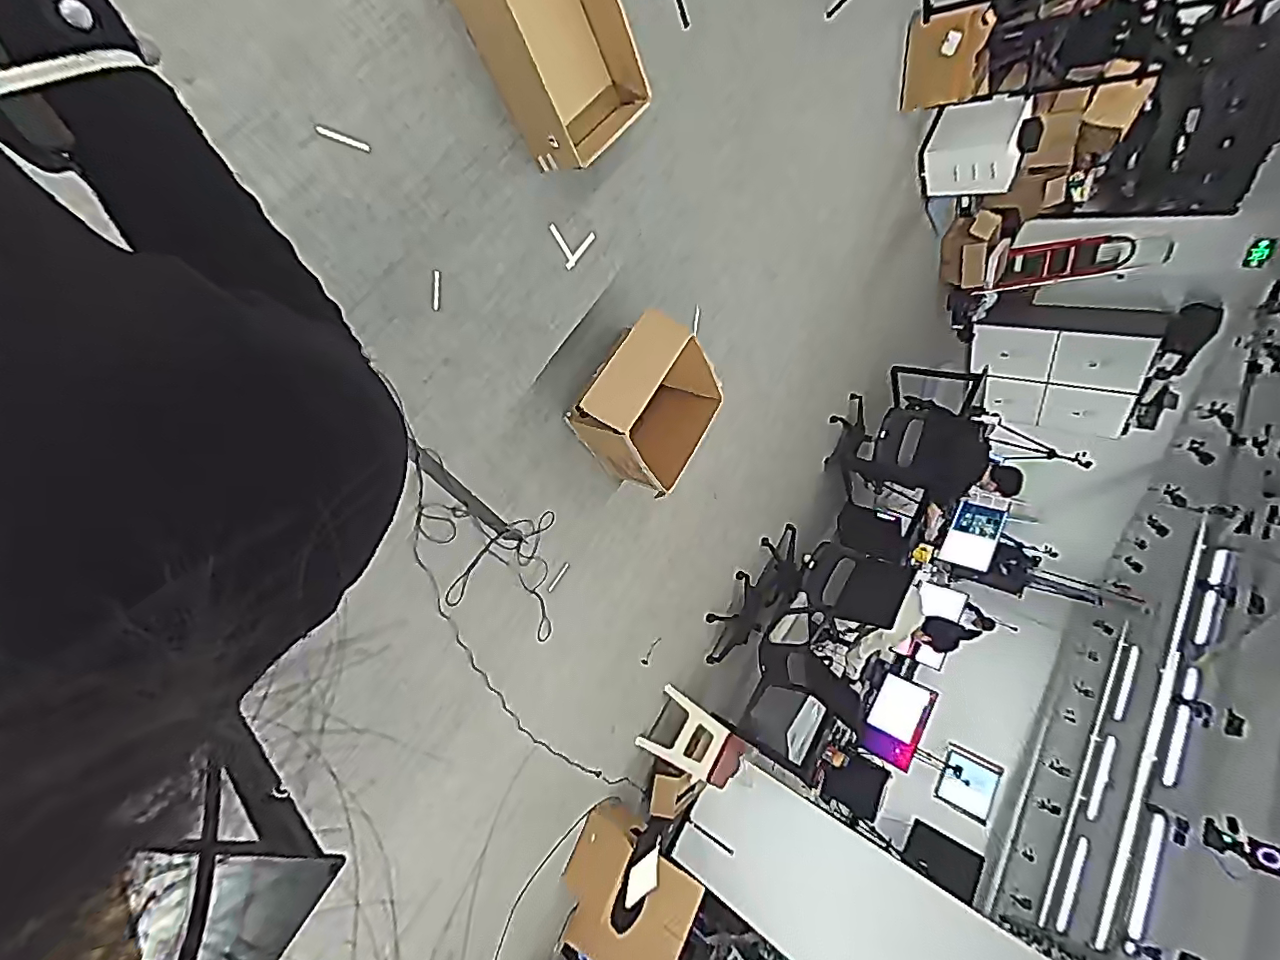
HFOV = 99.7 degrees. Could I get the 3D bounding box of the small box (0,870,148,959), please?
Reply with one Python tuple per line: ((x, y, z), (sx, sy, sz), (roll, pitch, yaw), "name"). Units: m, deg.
((-0.679, 0.542, 0.561), (0.179, 0.176, 0.168), (-61, 142, -13), "small box")
